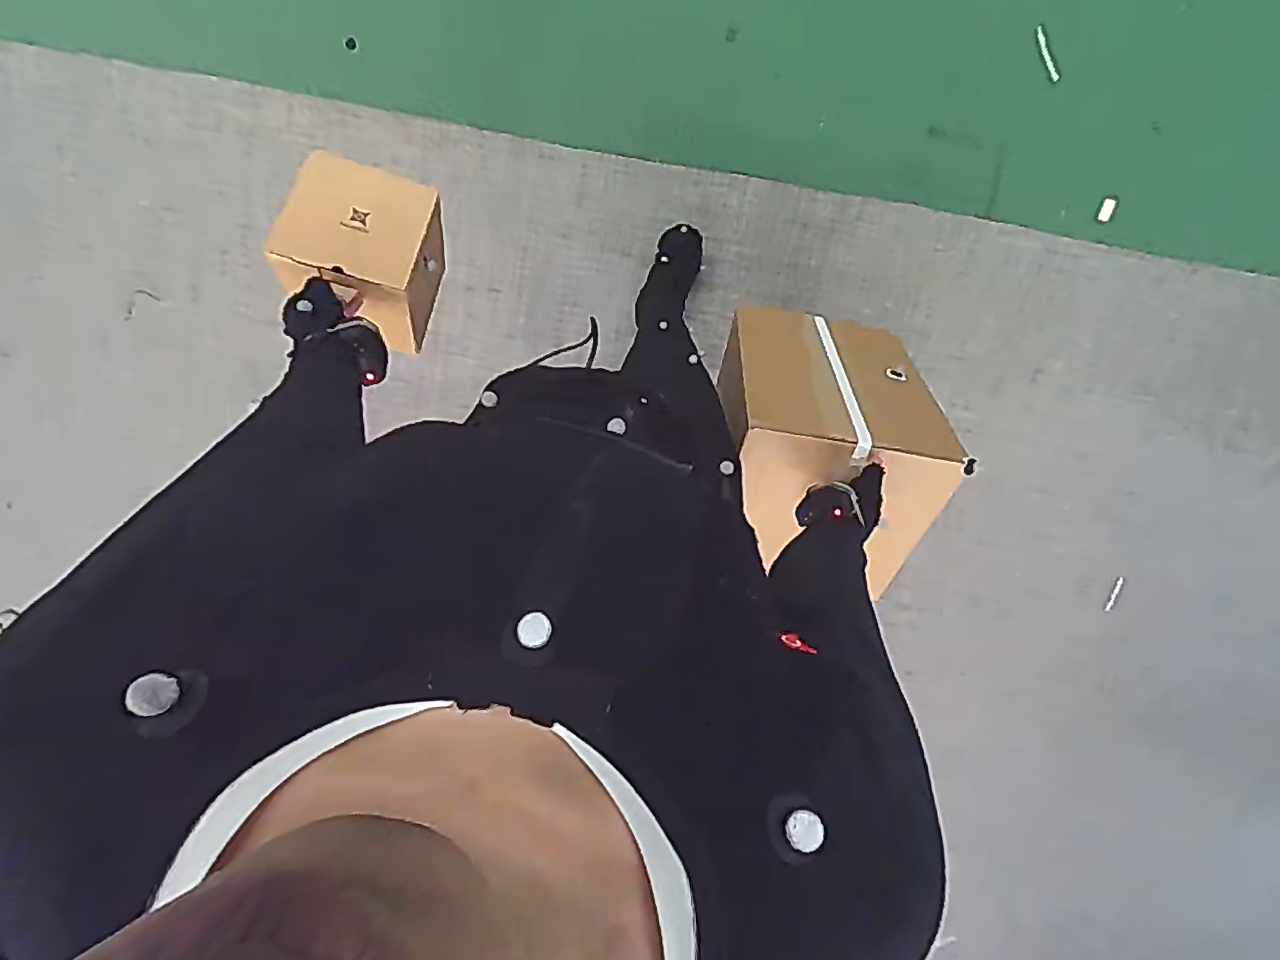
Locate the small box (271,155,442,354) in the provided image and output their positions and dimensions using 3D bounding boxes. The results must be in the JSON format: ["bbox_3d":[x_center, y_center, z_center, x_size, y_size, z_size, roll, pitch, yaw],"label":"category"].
[{"bbox_3d":[-0.393,-0.315,0.786,0.168,0.176,0.179,13,70,-13],"label":"small box"}]
